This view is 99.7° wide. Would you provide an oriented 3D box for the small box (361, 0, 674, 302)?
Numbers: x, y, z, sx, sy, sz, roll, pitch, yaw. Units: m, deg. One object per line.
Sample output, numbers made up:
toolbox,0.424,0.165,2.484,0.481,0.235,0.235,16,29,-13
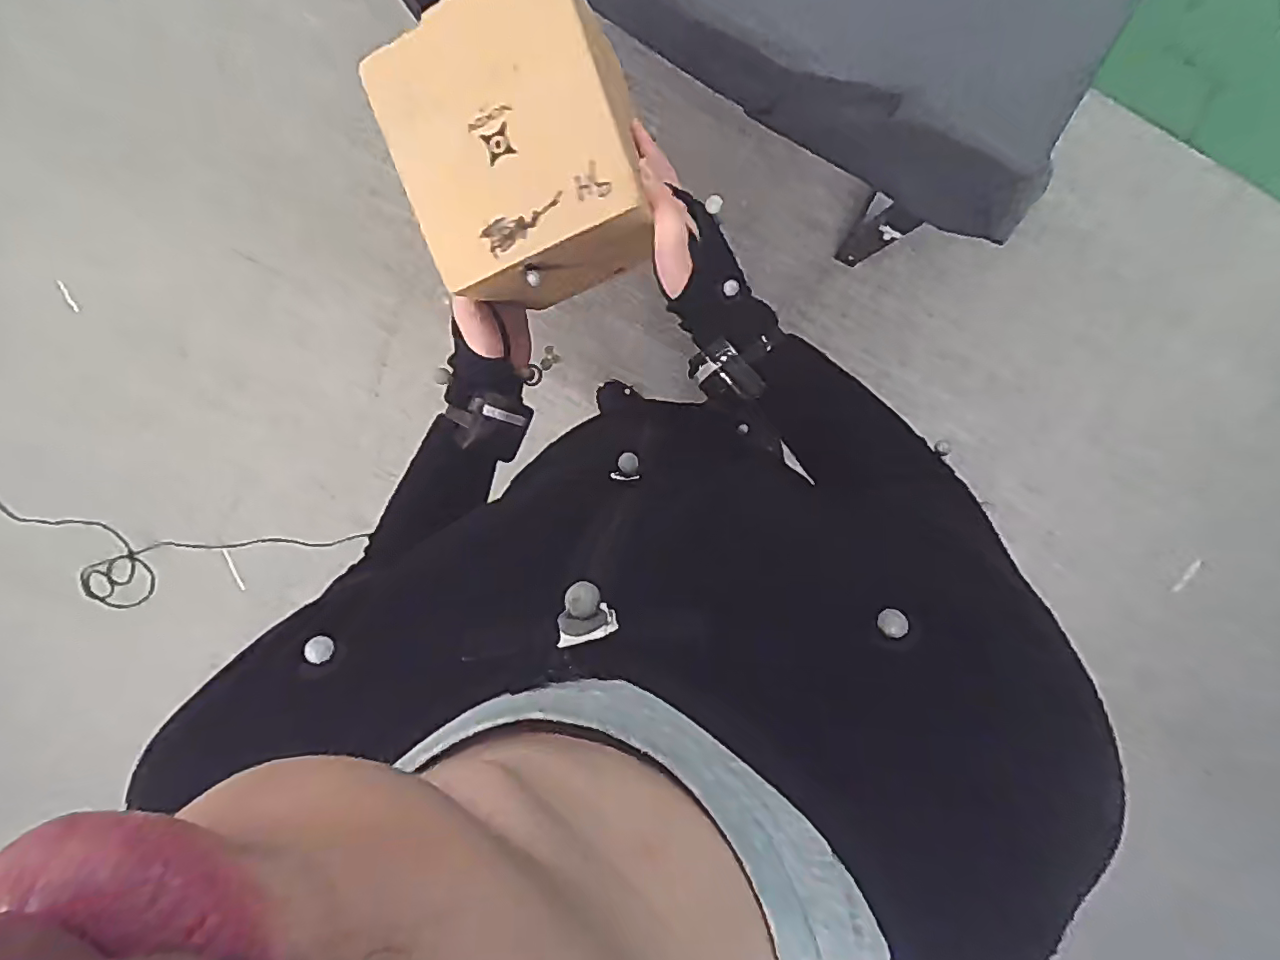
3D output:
small box,-0.083,-0.267,0.455,0.168,0.176,0.179,-18,99,17
